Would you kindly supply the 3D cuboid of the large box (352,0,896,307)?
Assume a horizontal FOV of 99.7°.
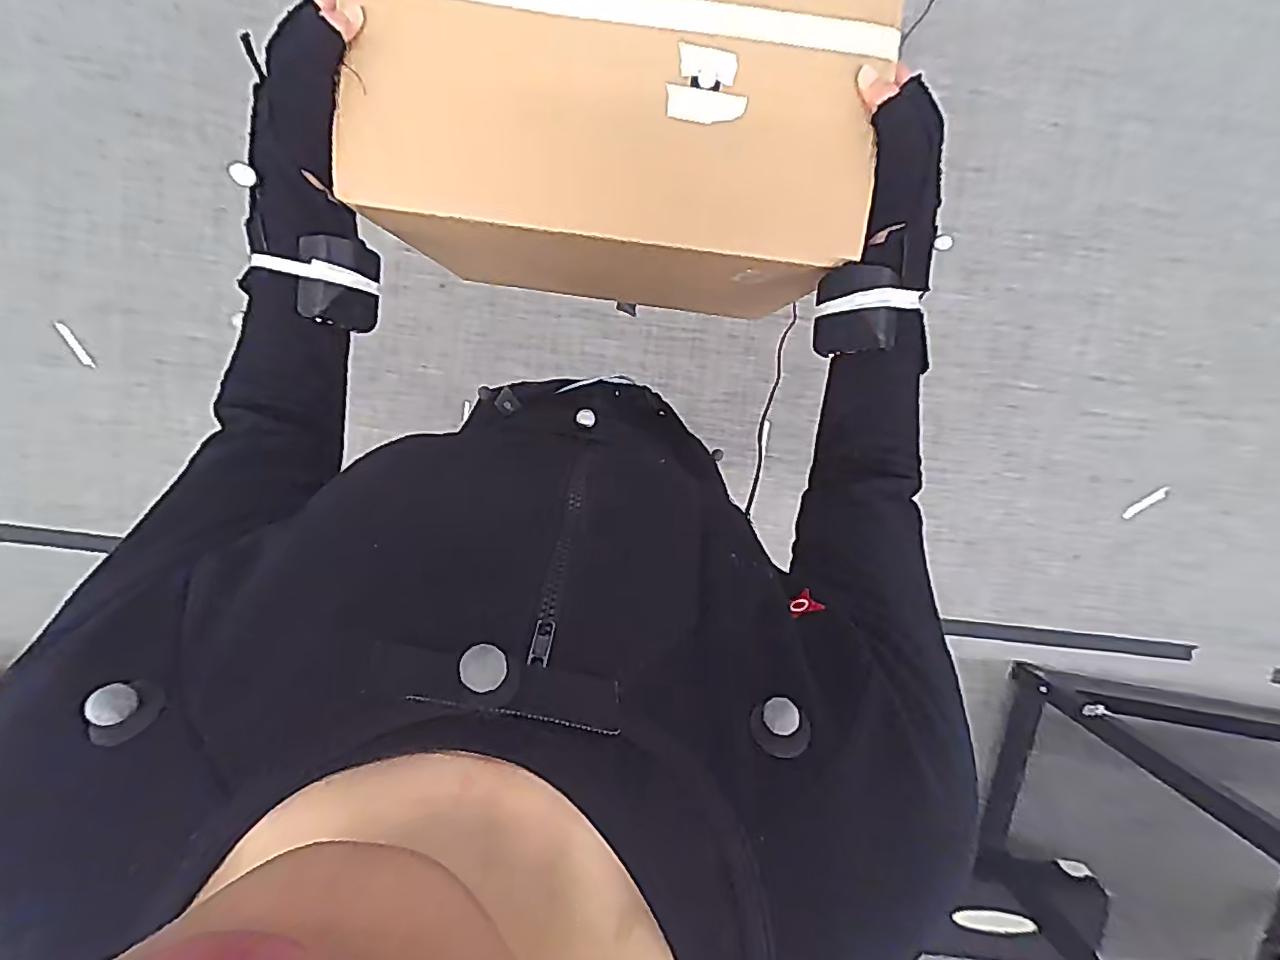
[{"bbox_3d":[-0.015,-0.373,0.545,0.408,0.320,0.320,6,101,-3],"label":"large box"}]
